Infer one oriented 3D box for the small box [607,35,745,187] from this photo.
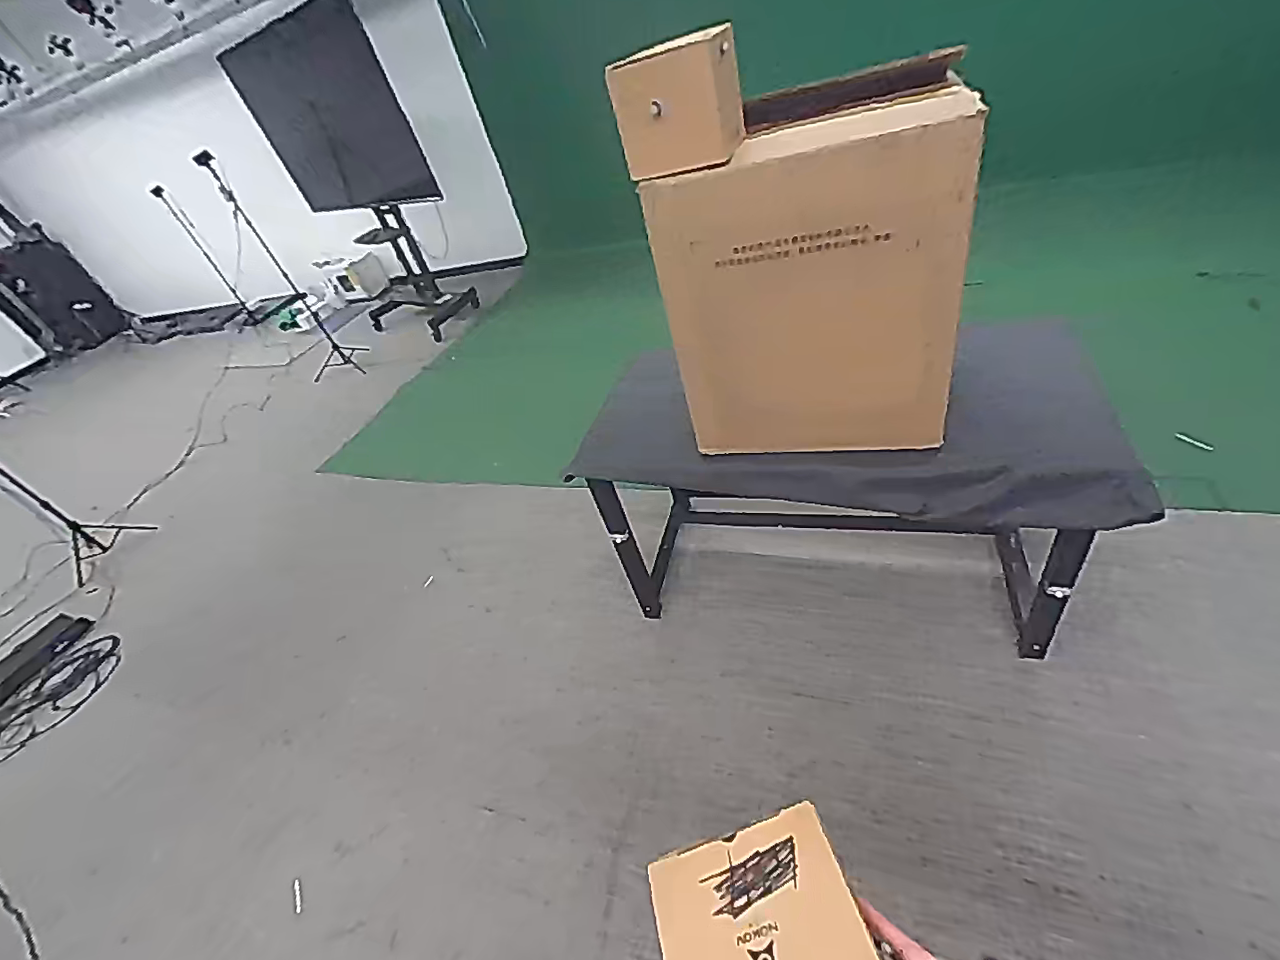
[{"bbox_3d":[0.071,-0.629,0.935,0.179,0.176,0.168,1,44,25],"label":"small box"}]
